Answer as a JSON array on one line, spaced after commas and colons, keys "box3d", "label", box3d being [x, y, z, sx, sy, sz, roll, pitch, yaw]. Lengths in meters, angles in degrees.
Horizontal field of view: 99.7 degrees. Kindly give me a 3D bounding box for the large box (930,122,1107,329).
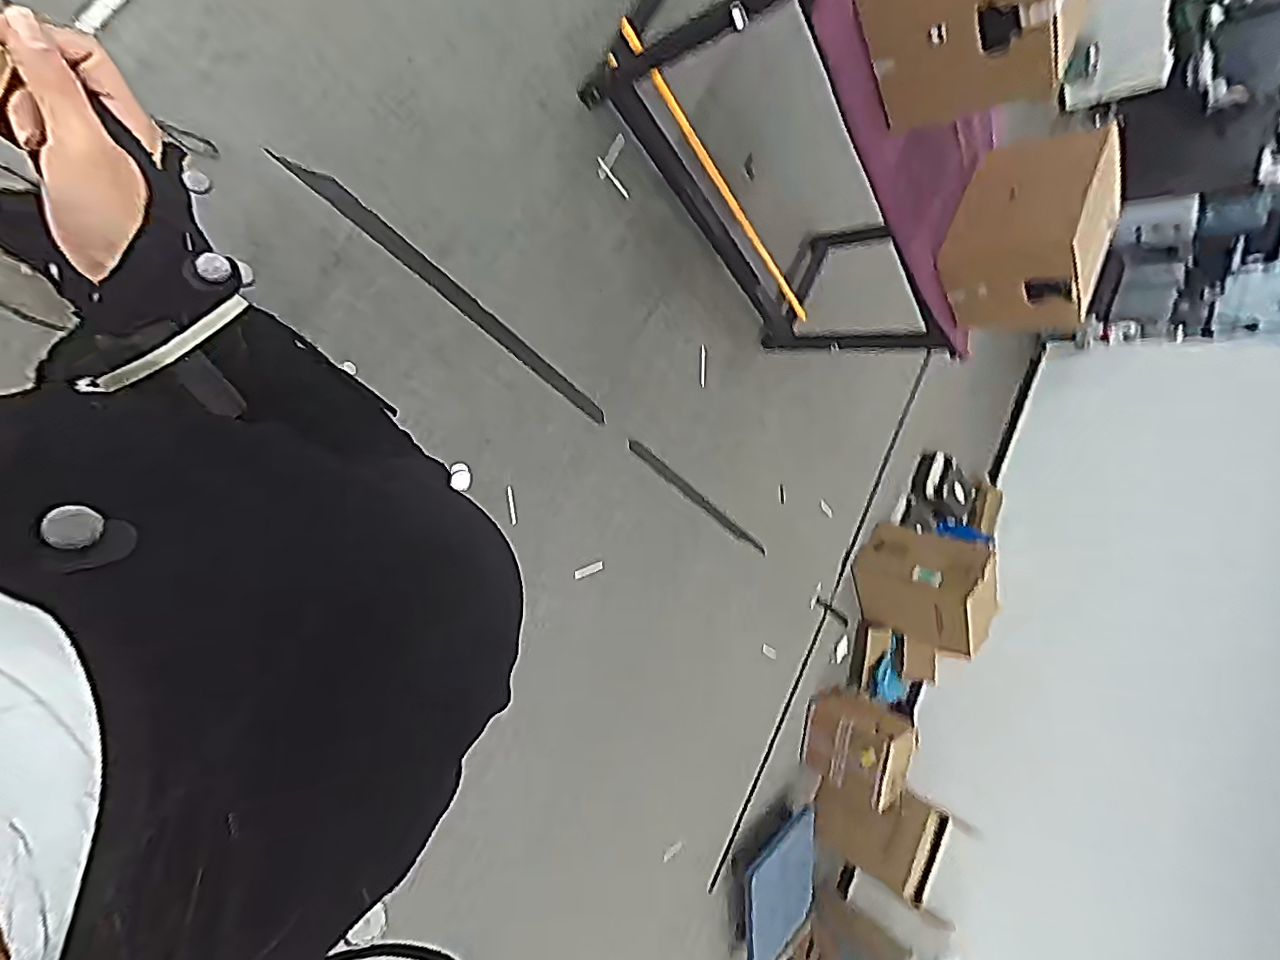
[{"box3d": [1.070, -0.686, 1.530, 0.320, 0.320, 0.408, 36, 74, -43], "label": "large box"}]
